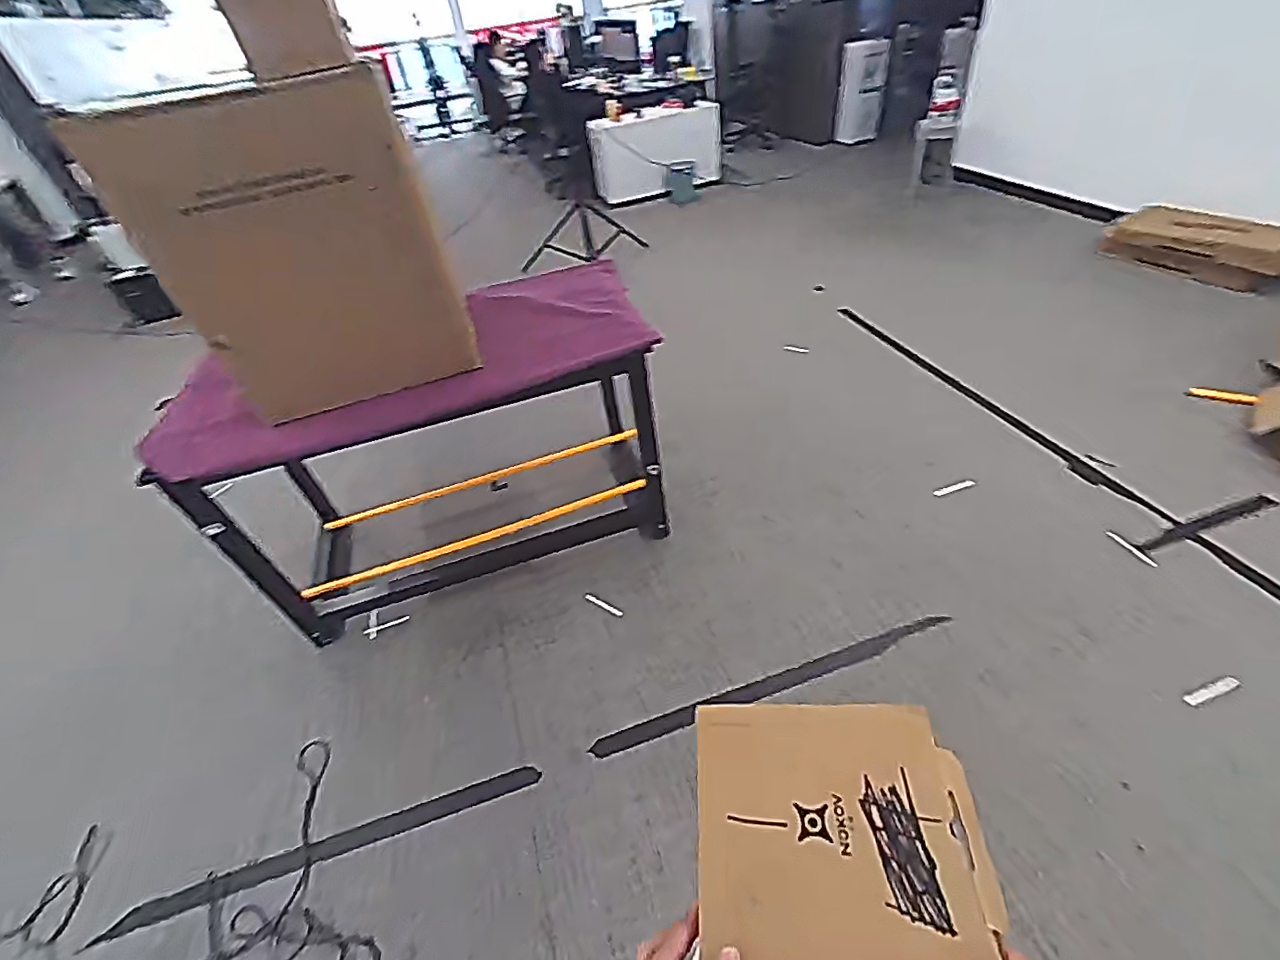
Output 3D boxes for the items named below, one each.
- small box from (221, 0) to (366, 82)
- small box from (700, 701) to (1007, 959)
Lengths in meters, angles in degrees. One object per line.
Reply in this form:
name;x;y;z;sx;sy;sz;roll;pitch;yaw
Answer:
small box;-0.615;-0.822;0.950;0.179;0.176;0.168;-18;44;-8
small box;0.138;0.287;0.420;0.179;0.176;0.168;-3;44;8
